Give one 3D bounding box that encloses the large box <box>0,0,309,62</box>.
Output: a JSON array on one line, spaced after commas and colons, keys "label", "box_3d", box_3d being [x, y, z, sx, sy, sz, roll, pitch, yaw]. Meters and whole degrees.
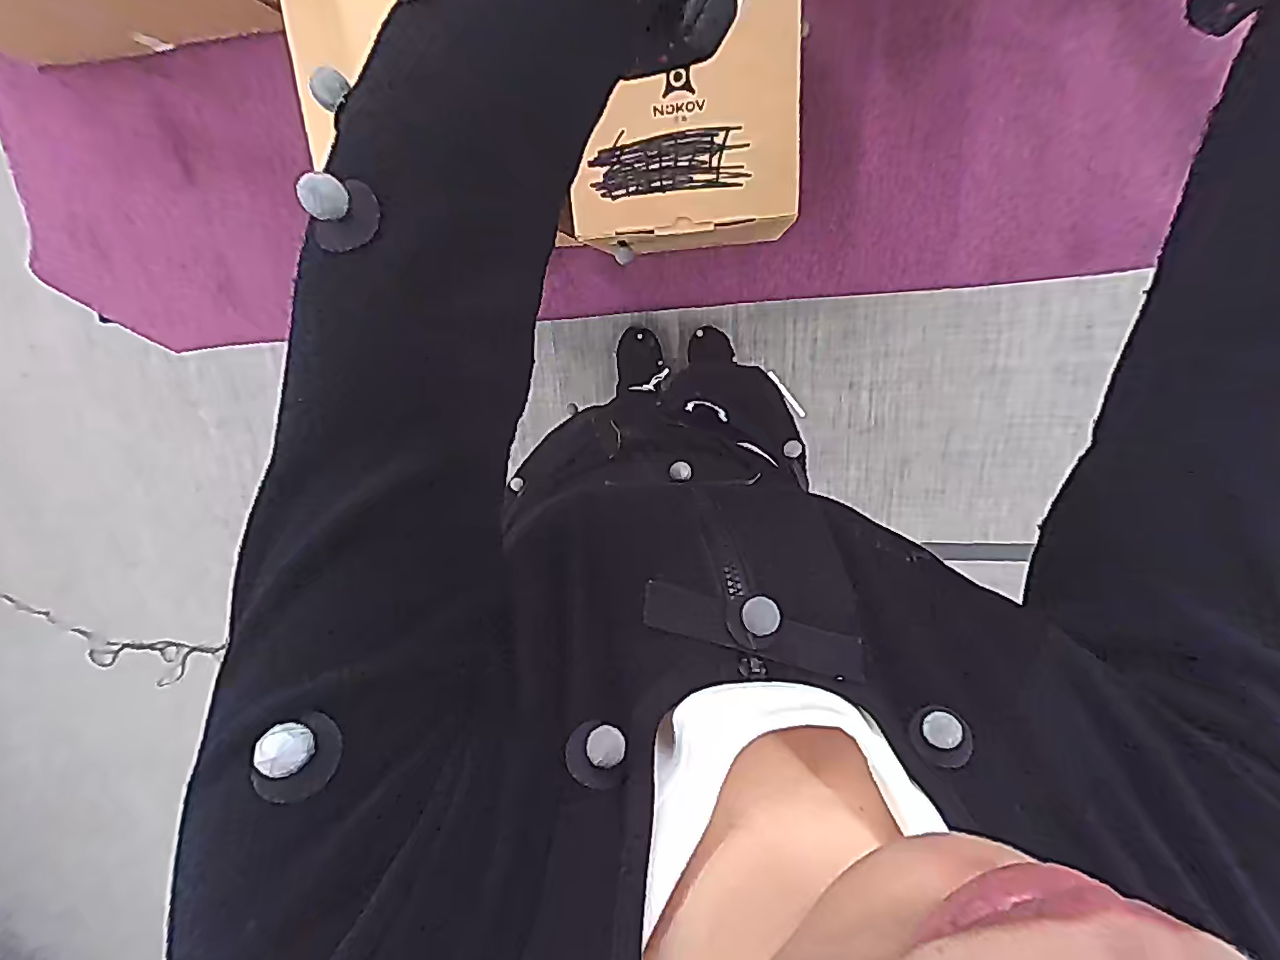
[{"label": "large box", "box_3d": [-0.505, -0.579, 0.347, 0.320, 0.320, 0.408, -3, 111, 8]}]
